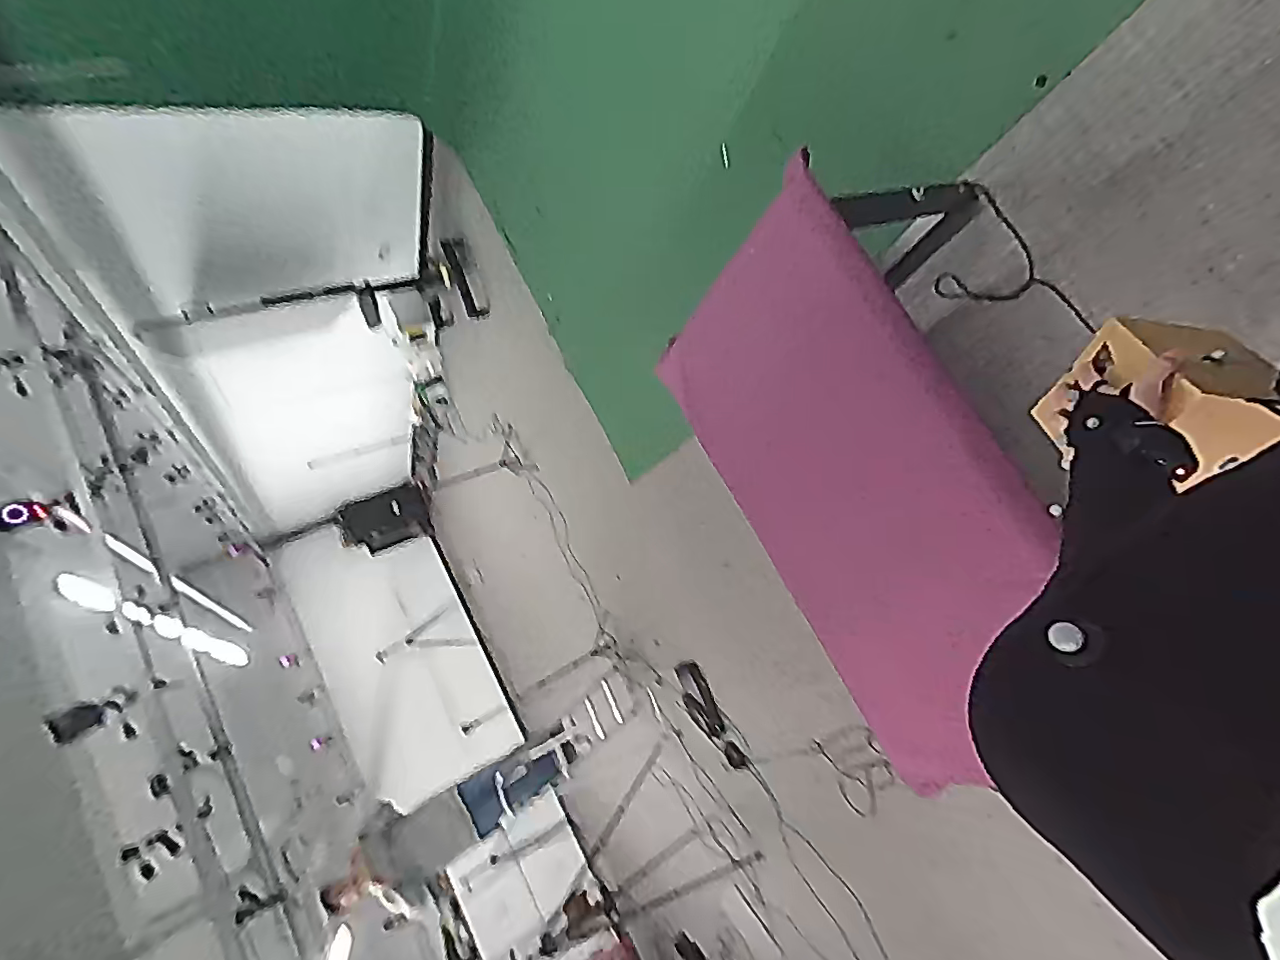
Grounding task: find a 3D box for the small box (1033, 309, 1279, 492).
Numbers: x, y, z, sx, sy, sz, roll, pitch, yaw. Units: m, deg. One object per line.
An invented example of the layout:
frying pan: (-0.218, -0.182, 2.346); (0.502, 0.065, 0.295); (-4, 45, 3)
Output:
small box: (0.688, -0.100, 0.714); (0.168, 0.176, 0.179); (100, 173, -45)
